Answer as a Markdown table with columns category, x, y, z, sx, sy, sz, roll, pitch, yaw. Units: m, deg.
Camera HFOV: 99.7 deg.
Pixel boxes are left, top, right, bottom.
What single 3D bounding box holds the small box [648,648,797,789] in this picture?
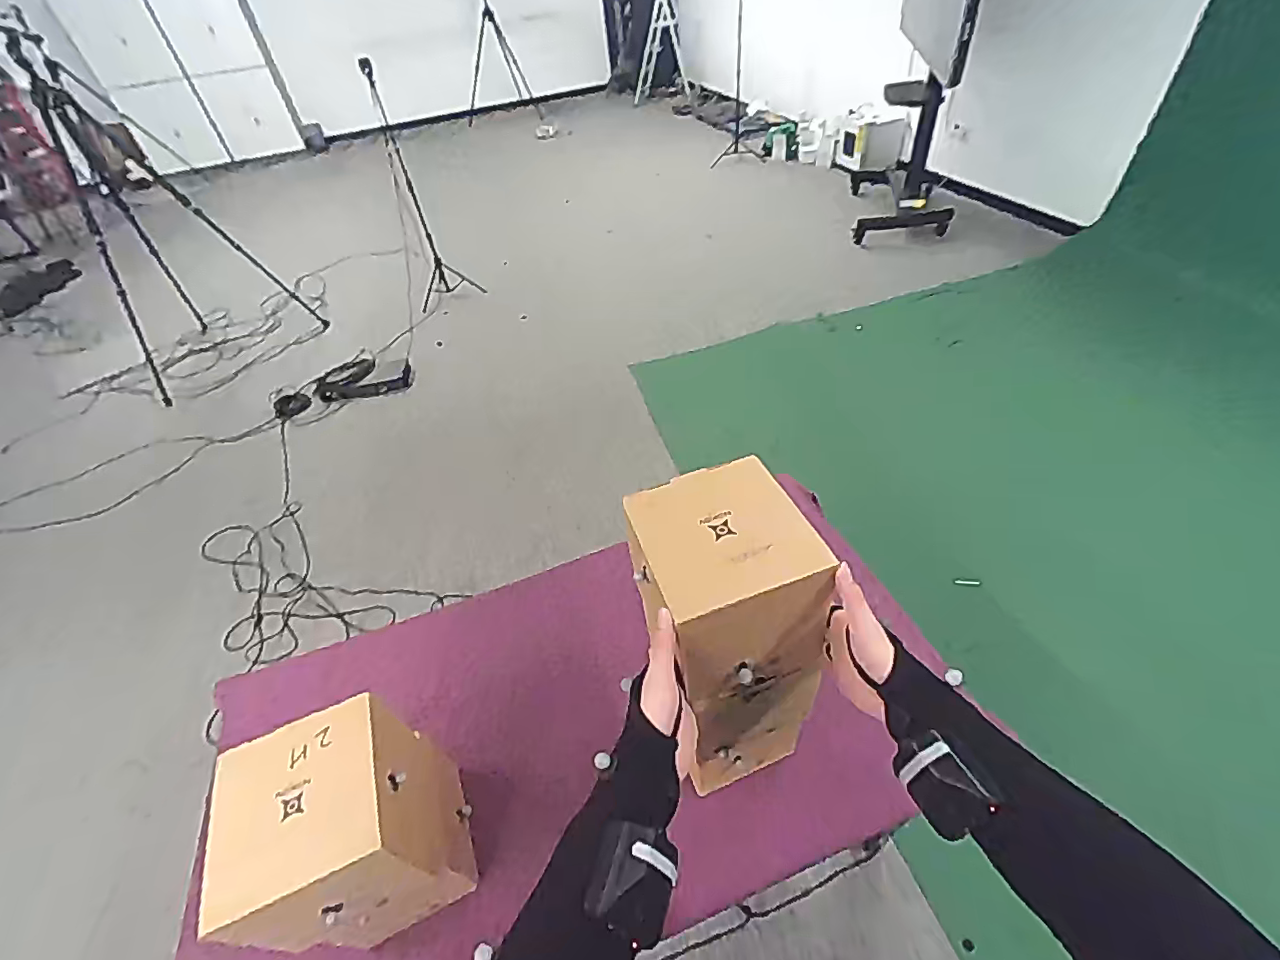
| category | x | y | z | sx | sy | sz | roll | pitch | yaw |
| --- | --- | --- | --- | --- | --- | --- | --- | --- | --- |
| small box | 0.126 | 0.339 | 0.818 | 0.168 | 0.176 | 0.179 | -19 | 45 | -11 |

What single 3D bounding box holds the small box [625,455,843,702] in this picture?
| category | x | y | z | sx | sy | sz | roll | pitch | yaw |
| --- | --- | --- | --- | --- | --- | --- | --- | --- | --- |
| small box | 0.091 | 0.105 | 0.589 | 0.168 | 0.176 | 0.179 | -17 | 44 | -8 |

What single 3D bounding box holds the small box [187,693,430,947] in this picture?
| category | x | y | z | sx | sy | sz | roll | pitch | yaw |
| --- | --- | --- | --- | --- | --- | --- | --- | --- | --- |
| small box | -0.350 | 0.380 | 0.604 | 0.168 | 0.176 | 0.179 | -20 | 46 | -13 |

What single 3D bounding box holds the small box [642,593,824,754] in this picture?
| category | x | y | z | sx | sy | sz | roll | pitch | yaw |
| --- | --- | --- | --- | --- | --- | --- | --- | --- | --- |
| small box | 0.113 | 0.227 | 0.698 | 0.168 | 0.176 | 0.179 | -17 | 43 | -9 |

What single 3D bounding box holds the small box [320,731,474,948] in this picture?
| category | x | y | z | sx | sy | sz | roll | pitch | yaw |
| --- | --- | --- | --- | --- | --- | --- | --- | --- | --- |
| small box | -0.343 | 0.485 | 0.732 | 0.168 | 0.176 | 0.179 | -22 | 46 | -13 |
